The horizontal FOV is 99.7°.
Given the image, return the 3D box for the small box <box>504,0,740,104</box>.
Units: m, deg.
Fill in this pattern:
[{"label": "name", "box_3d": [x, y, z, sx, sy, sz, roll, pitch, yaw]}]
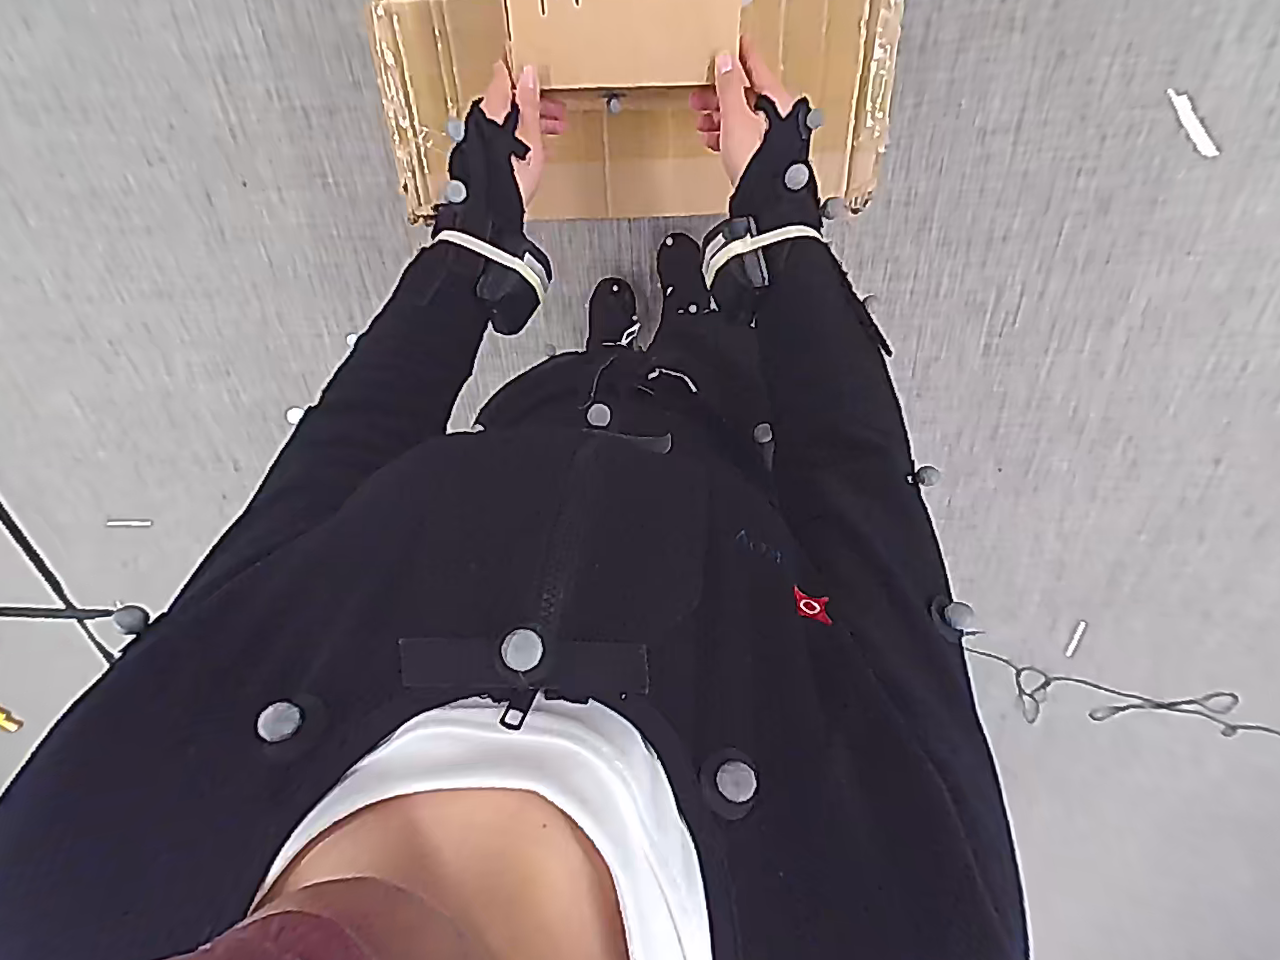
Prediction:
[{"label": "small box", "box_3d": [-0.008, -0.419, 0.444, 0.179, 0.176, 0.168, 1, 120, 4]}]
